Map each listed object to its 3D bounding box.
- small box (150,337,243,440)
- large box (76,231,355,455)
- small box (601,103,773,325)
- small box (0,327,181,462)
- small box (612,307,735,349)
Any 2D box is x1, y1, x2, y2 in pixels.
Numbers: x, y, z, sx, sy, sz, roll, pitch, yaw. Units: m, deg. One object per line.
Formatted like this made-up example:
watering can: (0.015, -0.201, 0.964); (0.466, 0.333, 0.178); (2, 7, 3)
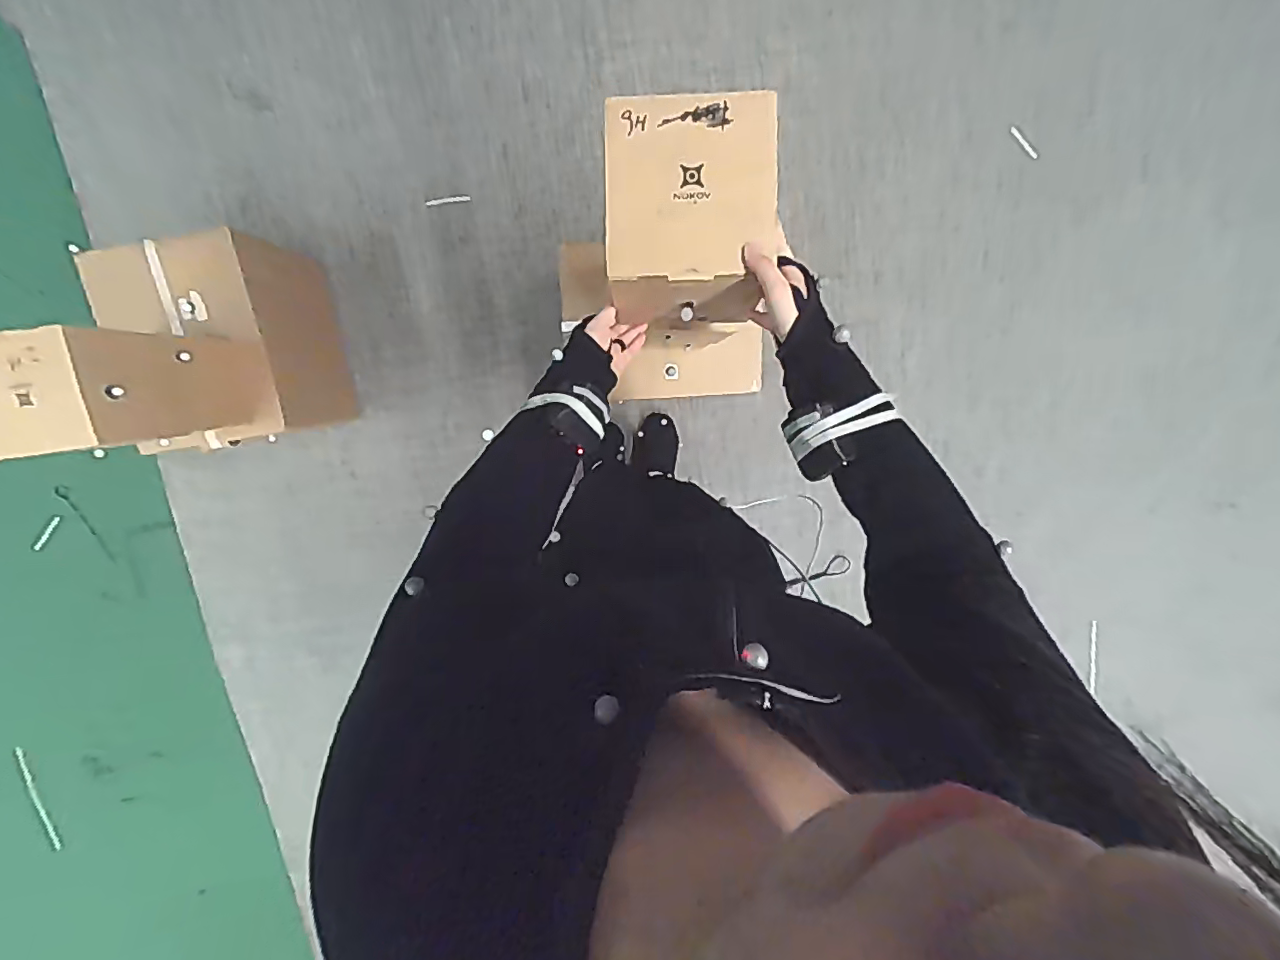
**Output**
small box: (-0.884, -0.163, 1.003); (0.168, 0.176, 0.179); (-7, 99, 0)
large box: (-0.915, -0.291, 1.226); (0.320, 0.320, 0.408); (-9, 100, 0)
small box: (0.048, -0.277, 0.602); (0.168, 0.176, 0.179); (0, 92, 2)
small box: (-0.871, -0.134, 0.840); (0.168, 0.176, 0.179); (-7, 100, -1)
small box: (0.048, -0.296, 0.836); (0.179, 0.176, 0.168); (2, 98, -1)
